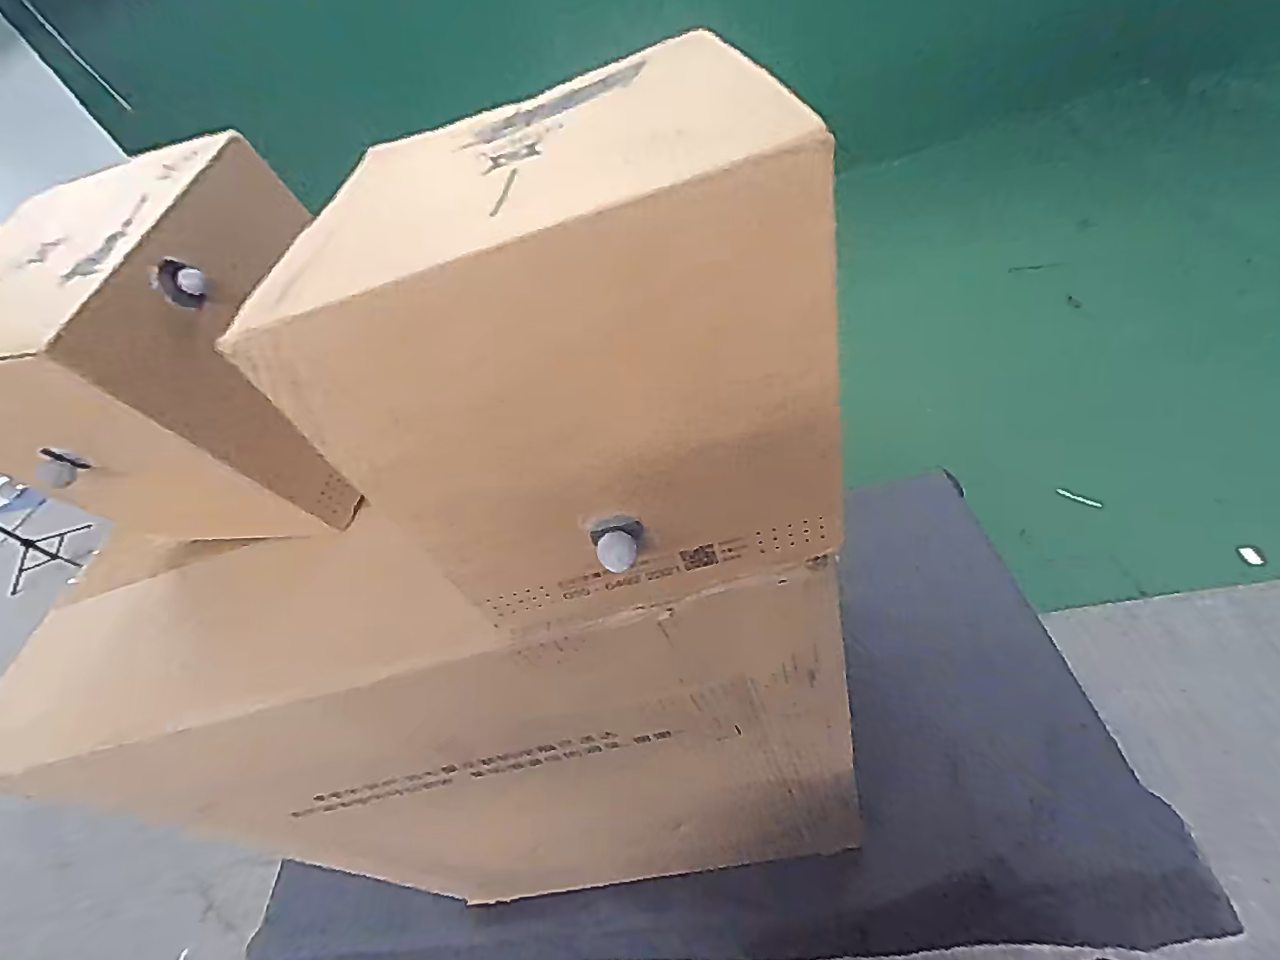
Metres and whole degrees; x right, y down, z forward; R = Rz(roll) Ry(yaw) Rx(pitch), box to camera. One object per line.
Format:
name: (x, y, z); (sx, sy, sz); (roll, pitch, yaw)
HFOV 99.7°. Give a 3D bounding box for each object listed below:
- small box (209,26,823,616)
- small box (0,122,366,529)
small box: (-0.023, -0.065, 0.248); (0.168, 0.176, 0.179); (-14, 46, 9)
small box: (-0.286, -0.076, 0.341); (0.179, 0.176, 0.168); (-3, 60, 17)
